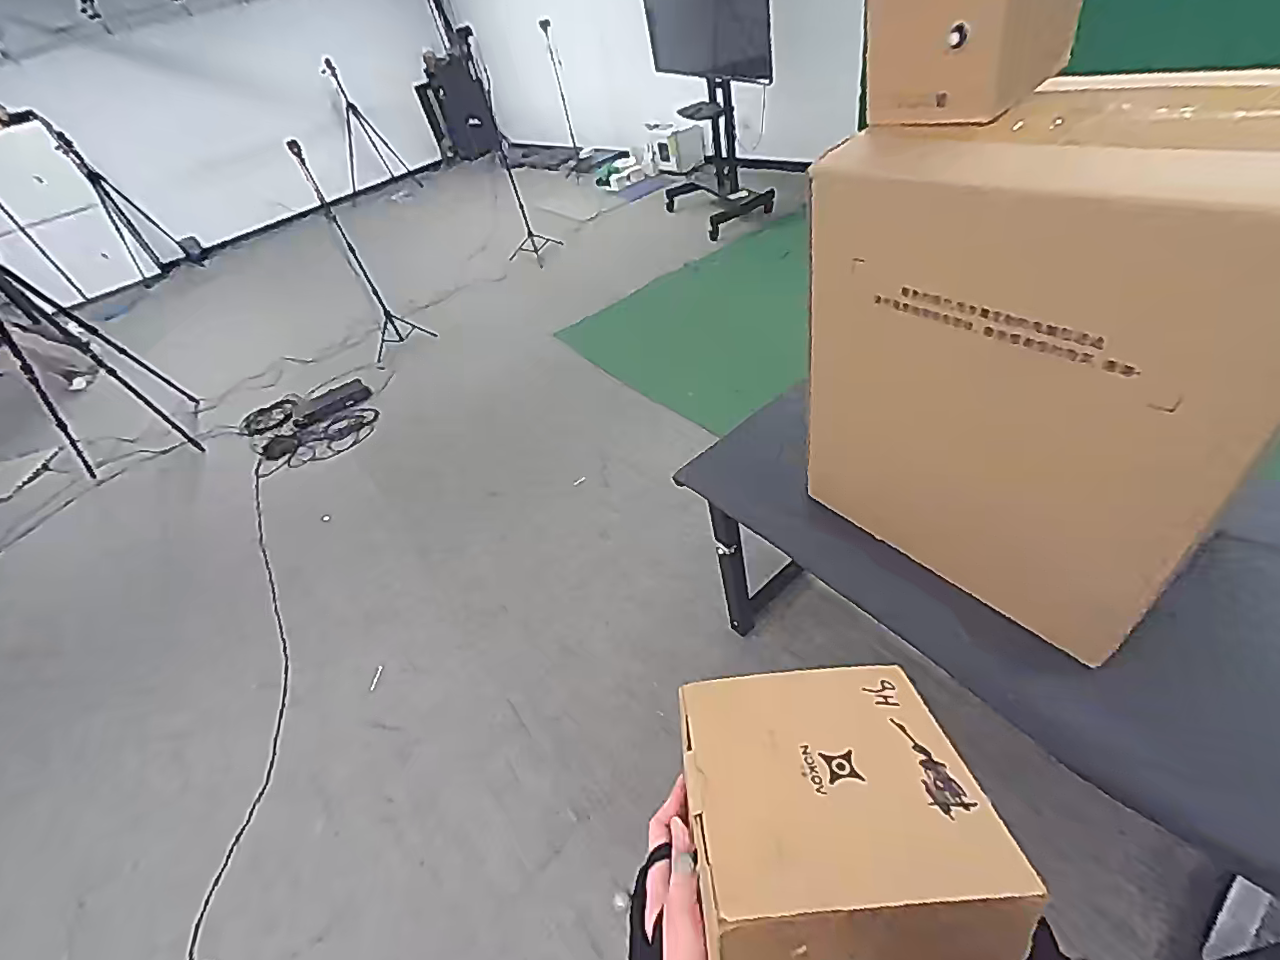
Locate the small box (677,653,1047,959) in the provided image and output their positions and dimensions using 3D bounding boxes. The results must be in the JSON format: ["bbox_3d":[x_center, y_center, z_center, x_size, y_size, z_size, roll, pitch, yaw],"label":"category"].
[{"bbox_3d":[0.125,0.247,0.373,0.179,0.176,0.168,-5,24,-1],"label":"small box"}]

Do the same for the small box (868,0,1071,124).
[{"bbox_3d":[0.401,-0.557,0.659,0.179,0.176,0.168,-38,46,-19],"label":"small box"}]
